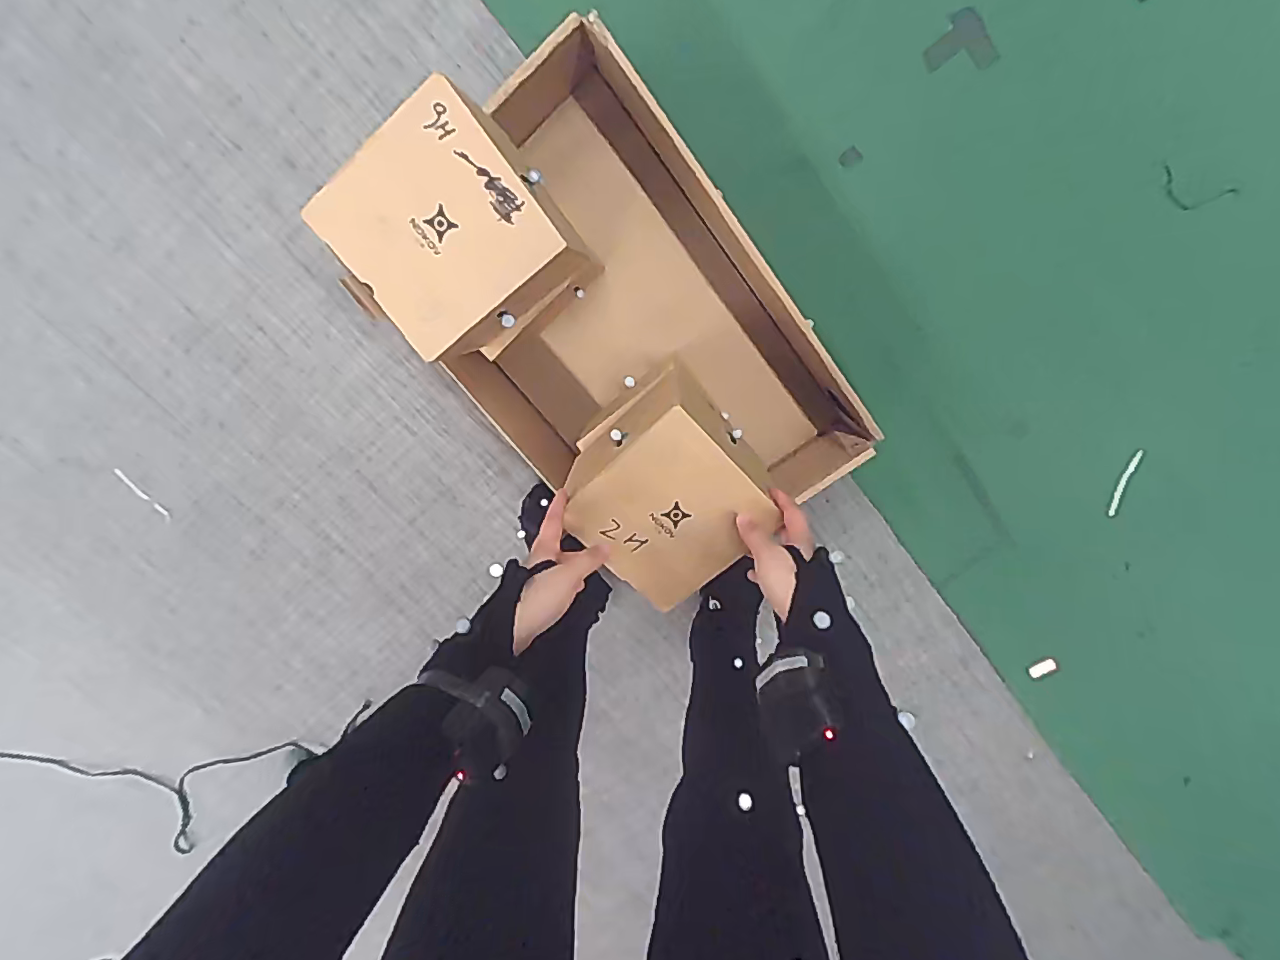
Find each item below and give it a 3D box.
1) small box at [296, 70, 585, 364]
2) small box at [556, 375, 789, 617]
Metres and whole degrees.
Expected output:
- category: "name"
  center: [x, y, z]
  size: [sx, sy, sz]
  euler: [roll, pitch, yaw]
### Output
- category: "small box"
  center: [-0.176, -0.240, 0.536]
  size: [0.179, 0.176, 0.168]
  euler: [-35, 104, 14]
- category: "small box"
  center: [0.033, 0.008, 0.605]
  size: [0.179, 0.176, 0.168]
  euler: [-40, 106, 18]
